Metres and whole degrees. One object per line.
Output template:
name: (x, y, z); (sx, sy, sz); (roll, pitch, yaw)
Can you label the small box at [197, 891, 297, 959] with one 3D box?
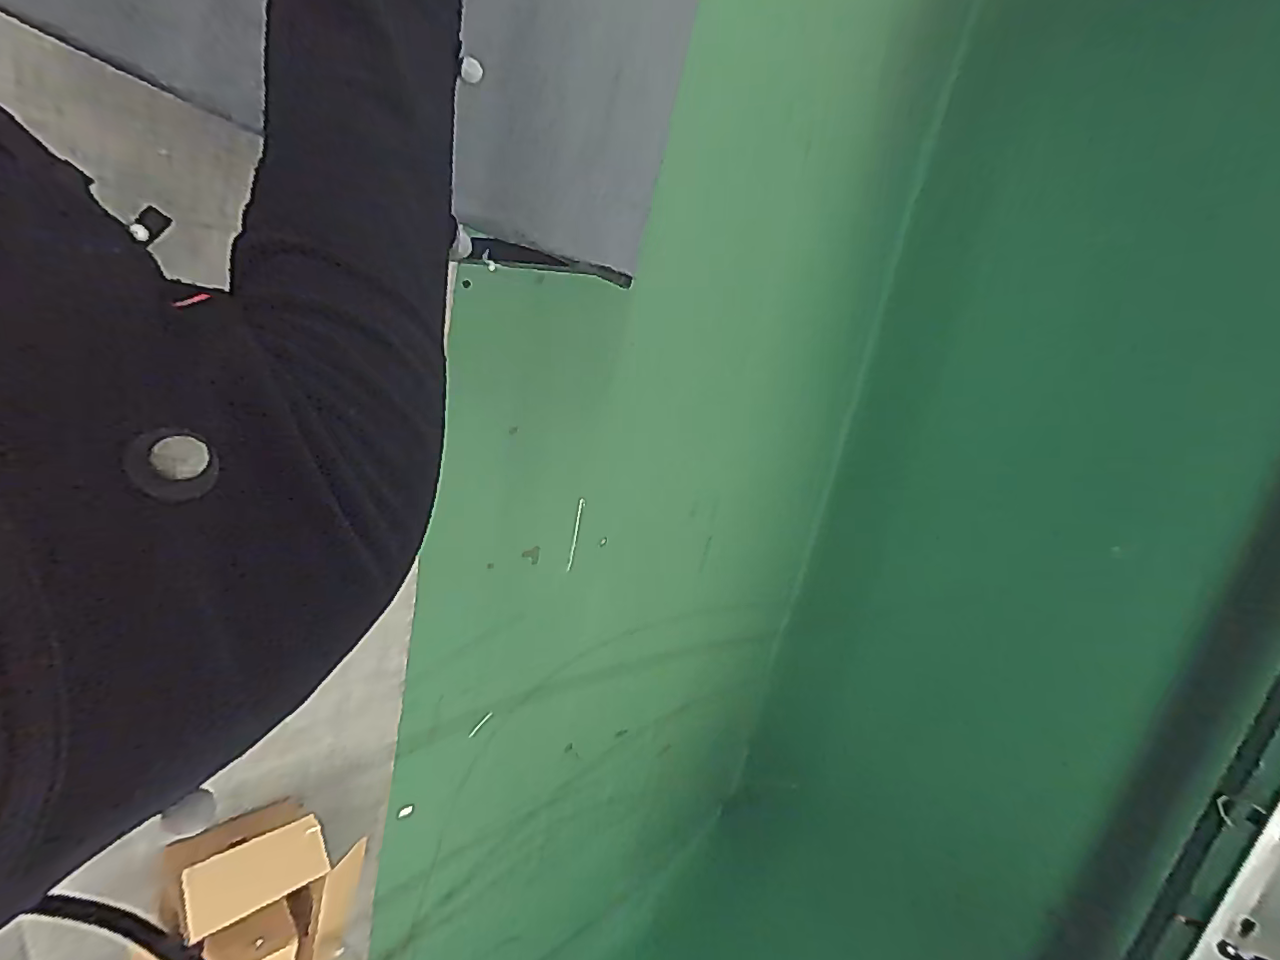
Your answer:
small box: (-1.011, 1.218, 1.380); (0.179, 0.176, 0.168); (4, 105, -50)
